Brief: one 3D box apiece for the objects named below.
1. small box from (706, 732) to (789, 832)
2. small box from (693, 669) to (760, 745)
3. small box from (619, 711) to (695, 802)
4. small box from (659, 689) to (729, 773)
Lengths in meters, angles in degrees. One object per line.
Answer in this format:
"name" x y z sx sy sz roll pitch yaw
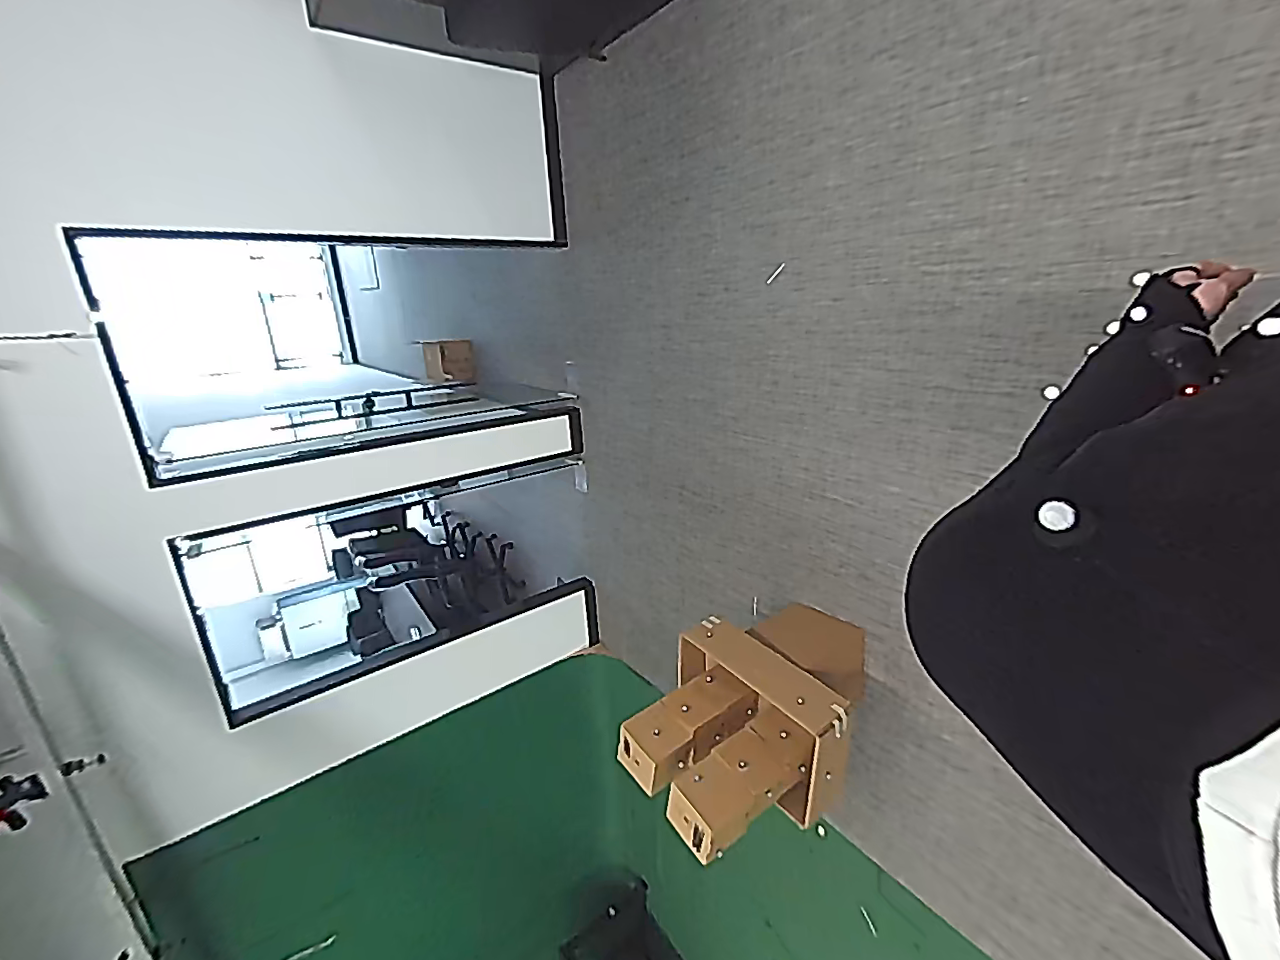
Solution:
"small box" 0.333 0.923 1.670 0.179 0.176 0.168 36 129 43
"small box" 0.307 0.810 1.949 0.179 0.176 0.168 22 121 48
"small box" 0.053 0.887 1.761 0.179 0.176 0.168 31 126 42
"small box" 0.183 0.847 1.853 0.179 0.176 0.168 20 118 47
